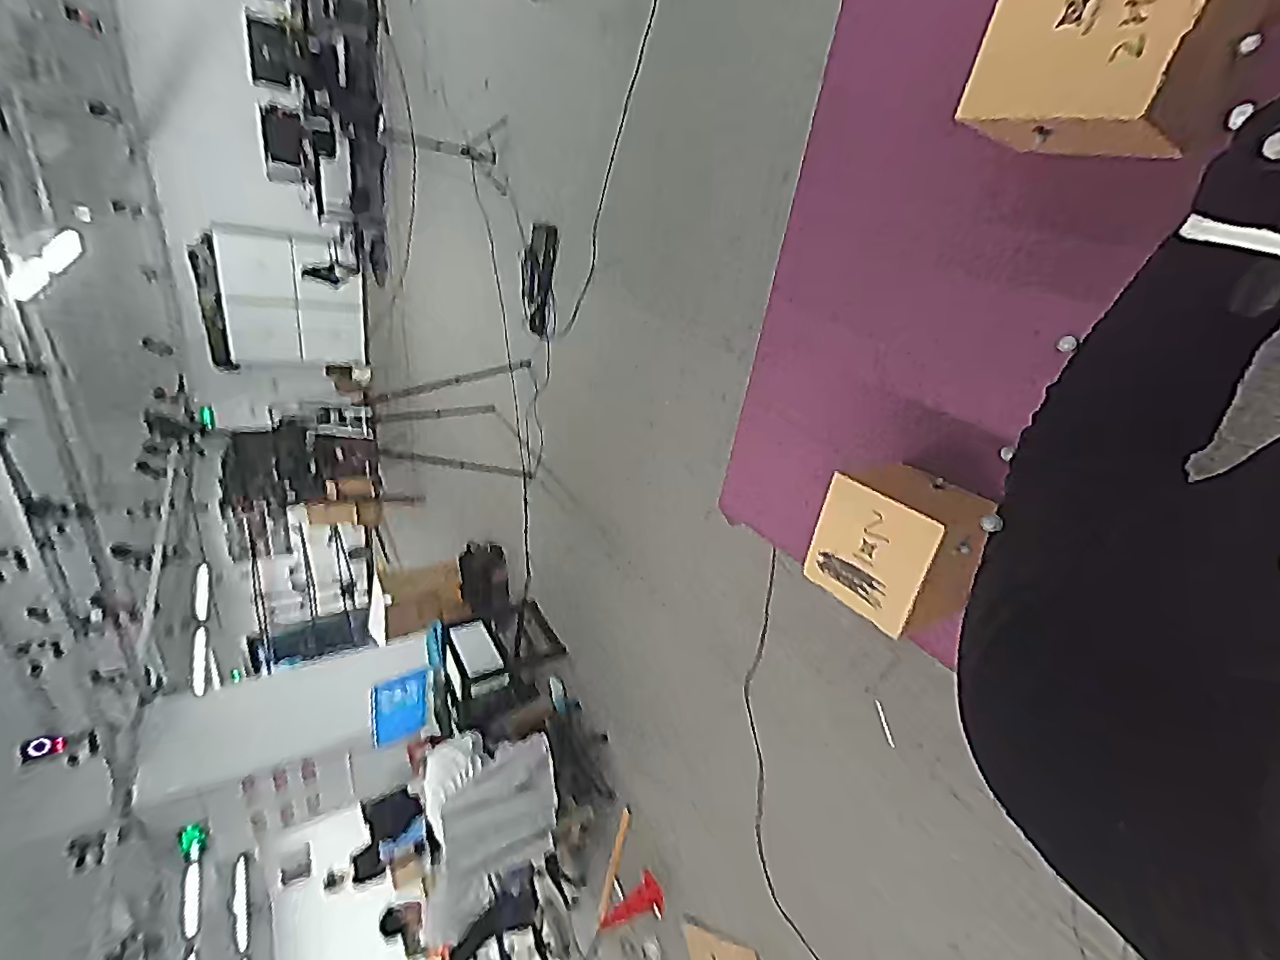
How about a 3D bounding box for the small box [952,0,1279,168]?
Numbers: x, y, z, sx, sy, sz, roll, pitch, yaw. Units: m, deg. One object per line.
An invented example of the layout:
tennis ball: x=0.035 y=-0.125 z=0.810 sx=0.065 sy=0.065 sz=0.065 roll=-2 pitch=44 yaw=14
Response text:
small box: x=0.469 y=-0.426 z=0.542 sx=0.179 sy=0.176 sz=0.168 roll=41 pitch=129 yaw=44
